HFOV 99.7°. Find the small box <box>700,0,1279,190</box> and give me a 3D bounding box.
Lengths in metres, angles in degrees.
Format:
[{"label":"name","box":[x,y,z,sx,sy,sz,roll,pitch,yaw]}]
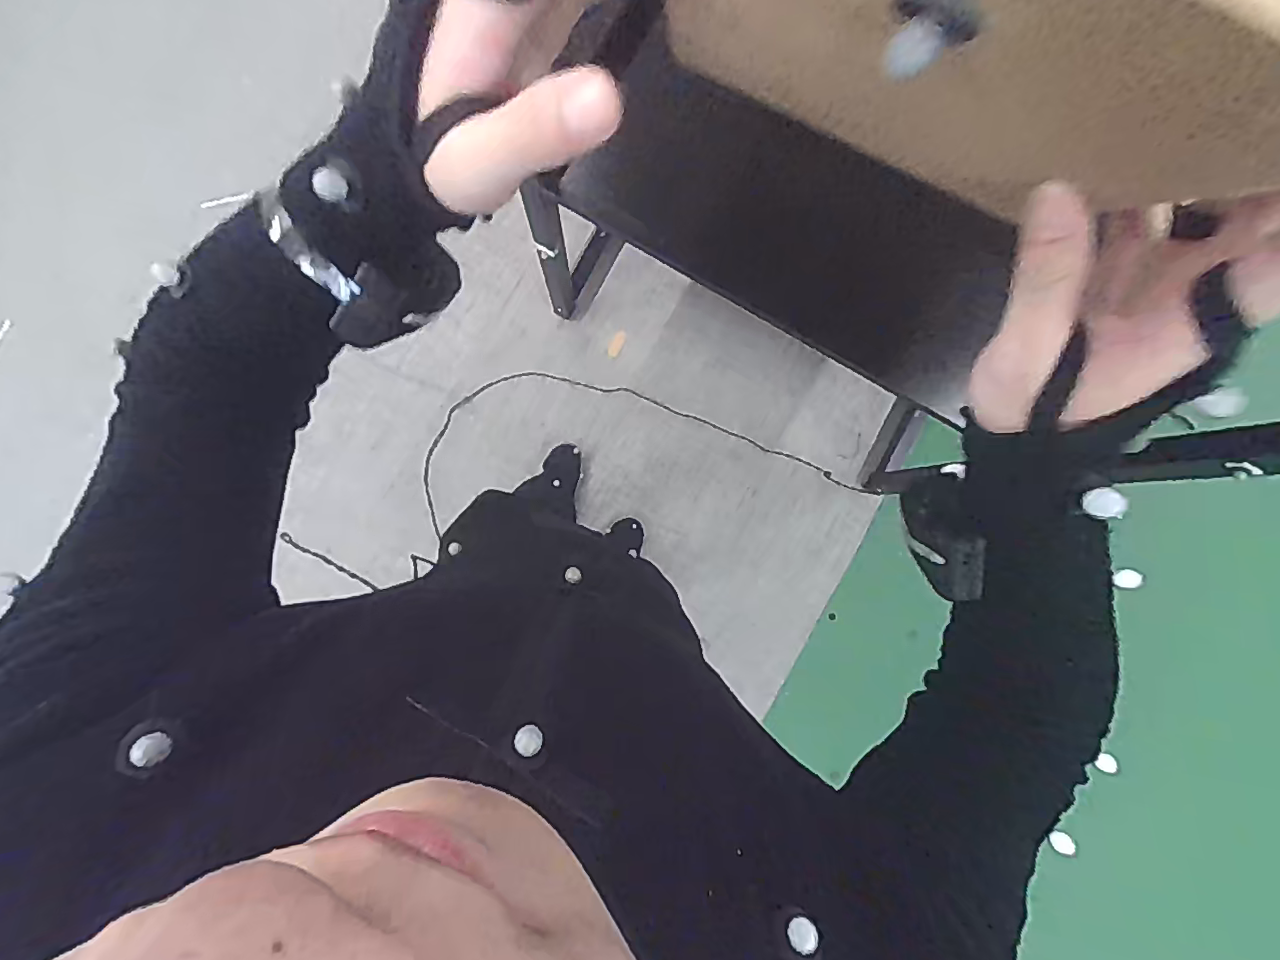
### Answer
[{"label":"small box","box":[0.121,-0.191,0.129,0.179,0.176,0.168,24,113,-3]}]
